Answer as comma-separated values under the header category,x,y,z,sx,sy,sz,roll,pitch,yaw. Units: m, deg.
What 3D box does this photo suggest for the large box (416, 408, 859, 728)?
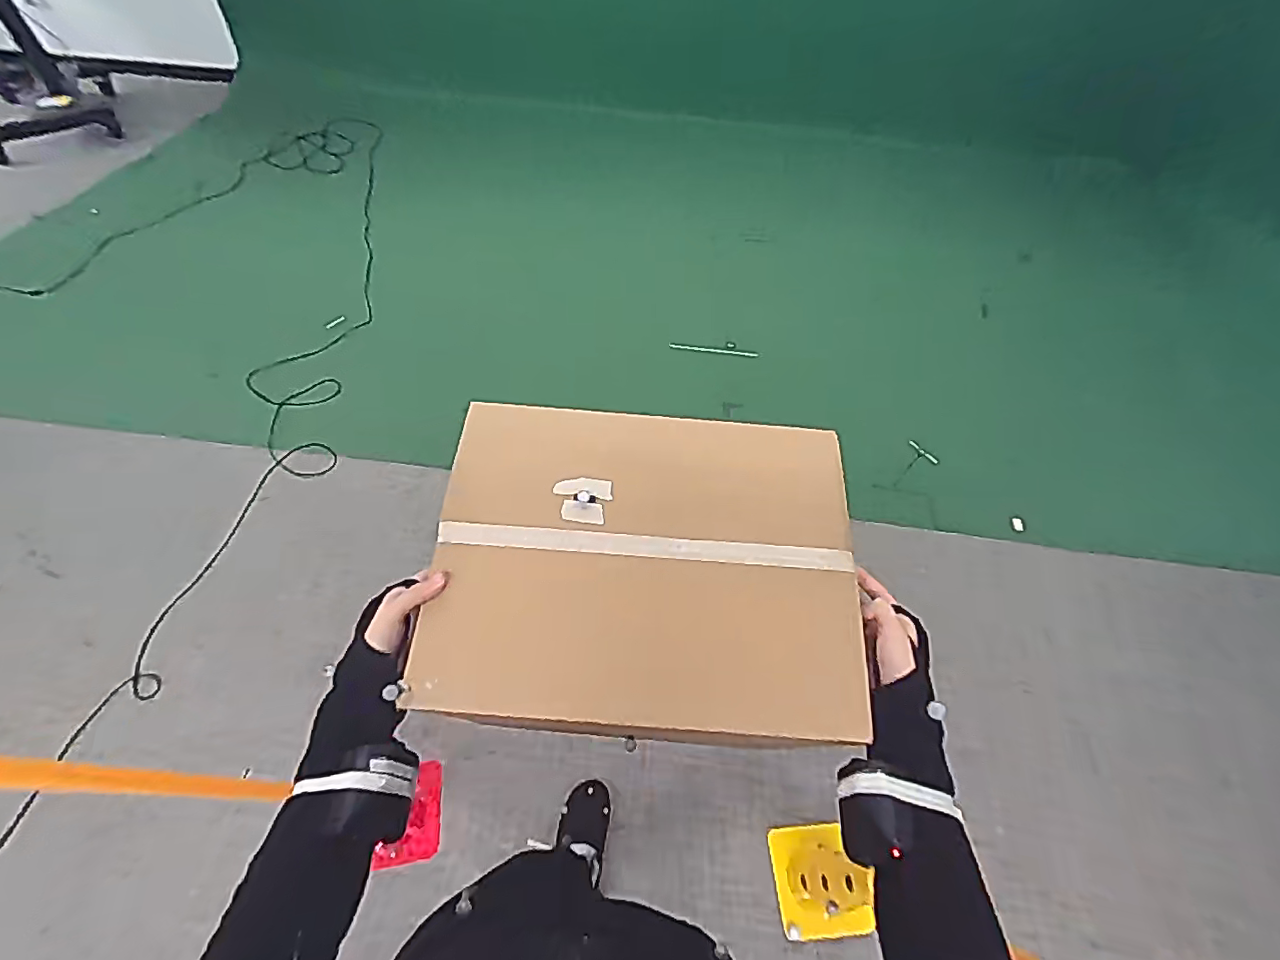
category,x,y,z,sx,sy,sz,roll,pitch,yaw
large box,0.004,0.131,0.677,0.408,0.320,0.320,4,63,1
